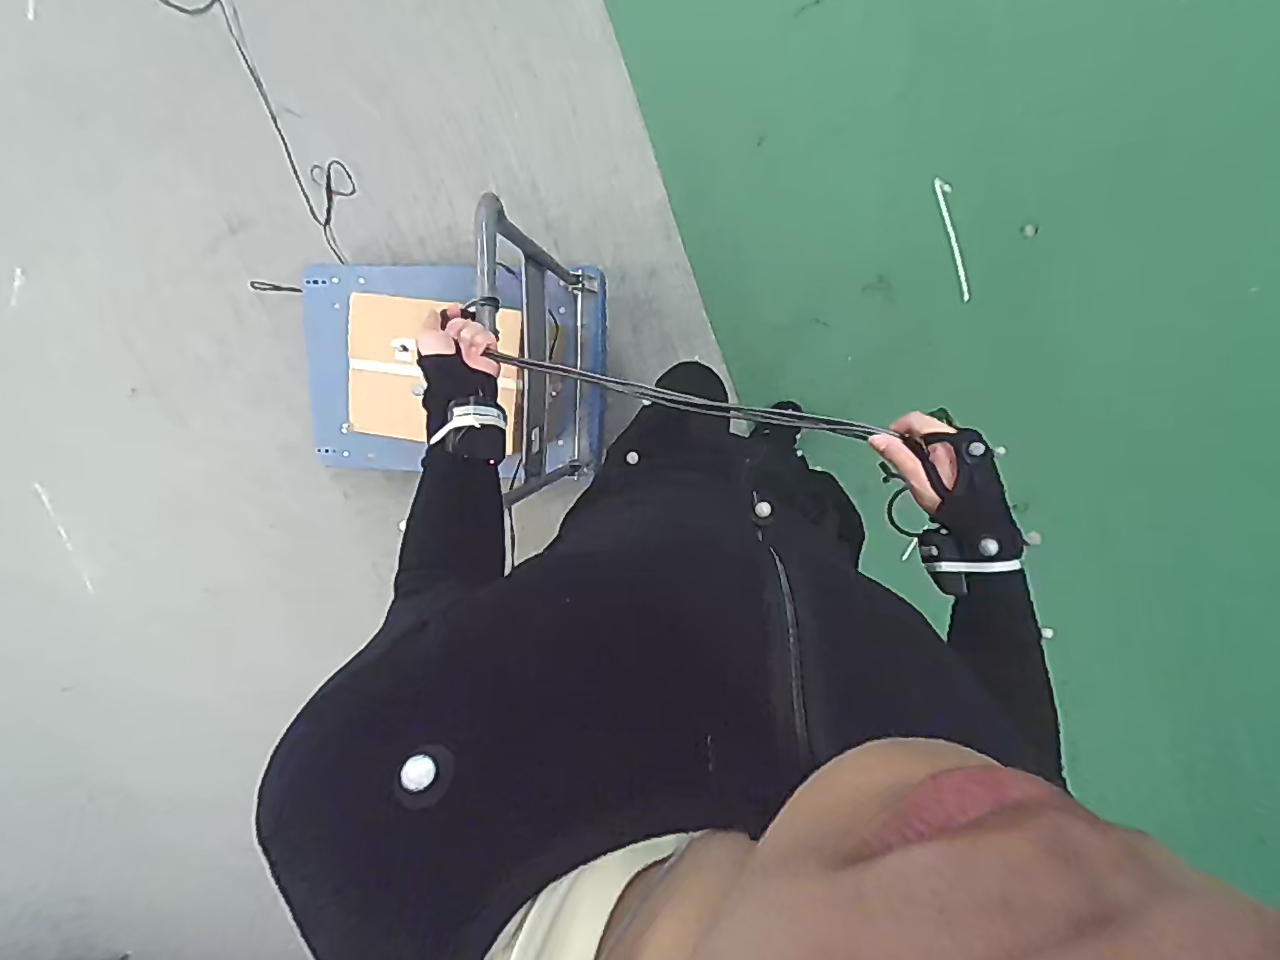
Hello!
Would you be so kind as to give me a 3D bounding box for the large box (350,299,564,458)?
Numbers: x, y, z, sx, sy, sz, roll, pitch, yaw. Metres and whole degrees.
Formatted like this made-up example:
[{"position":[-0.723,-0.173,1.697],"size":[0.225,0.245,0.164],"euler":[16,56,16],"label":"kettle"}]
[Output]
[{"position":[-0.426,-0.249,1.326],"size":[0.408,0.320,0.320],"euler":[9,101,8],"label":"large box"}]
